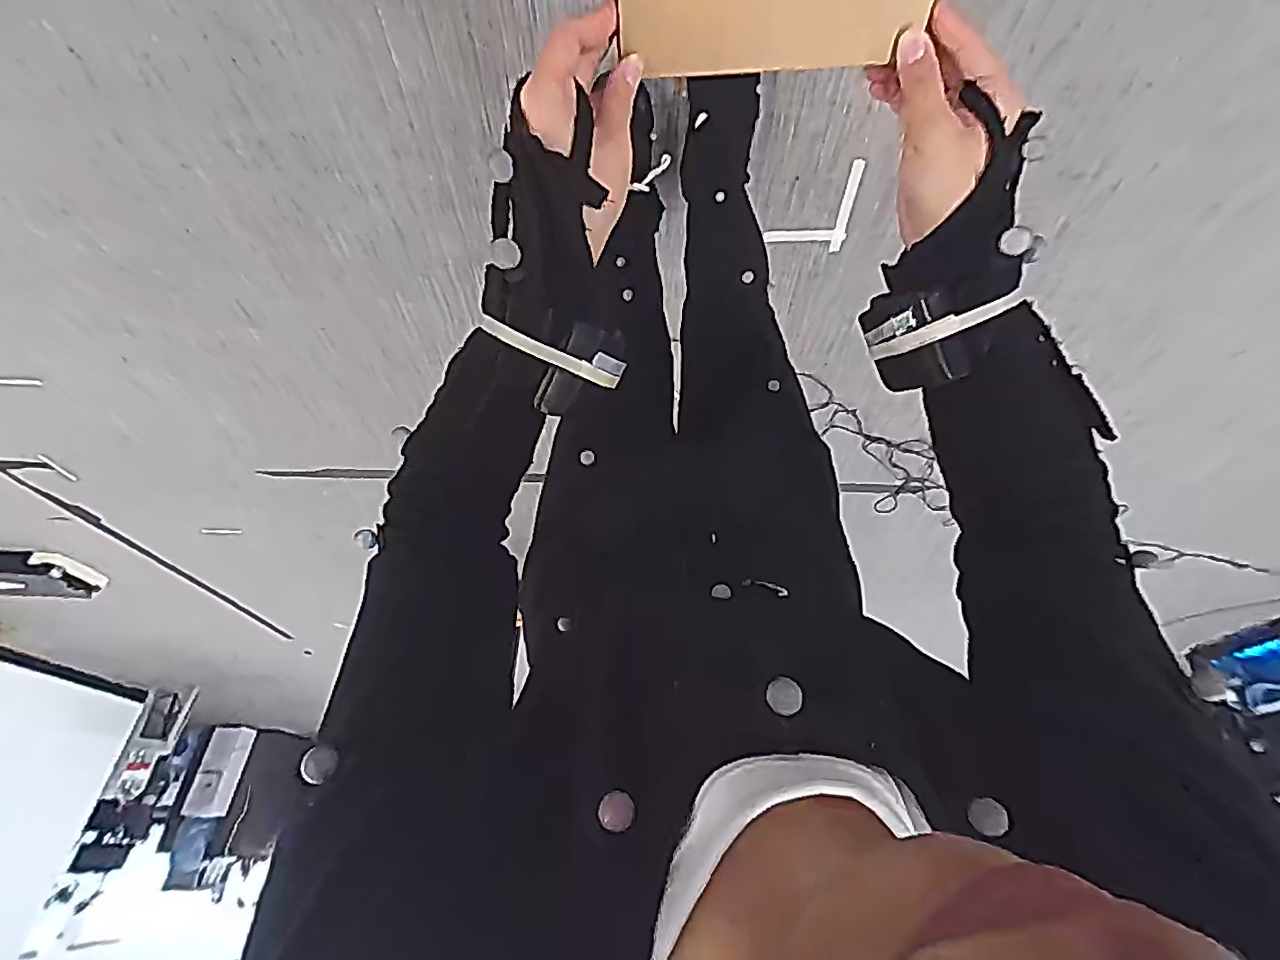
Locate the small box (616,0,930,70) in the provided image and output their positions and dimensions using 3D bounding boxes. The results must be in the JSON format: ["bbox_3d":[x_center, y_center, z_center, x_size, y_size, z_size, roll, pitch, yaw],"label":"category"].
[{"bbox_3d":[0.066,-0.349,0.284,0.168,0.176,0.179,-4,141,-1],"label":"small box"}]
